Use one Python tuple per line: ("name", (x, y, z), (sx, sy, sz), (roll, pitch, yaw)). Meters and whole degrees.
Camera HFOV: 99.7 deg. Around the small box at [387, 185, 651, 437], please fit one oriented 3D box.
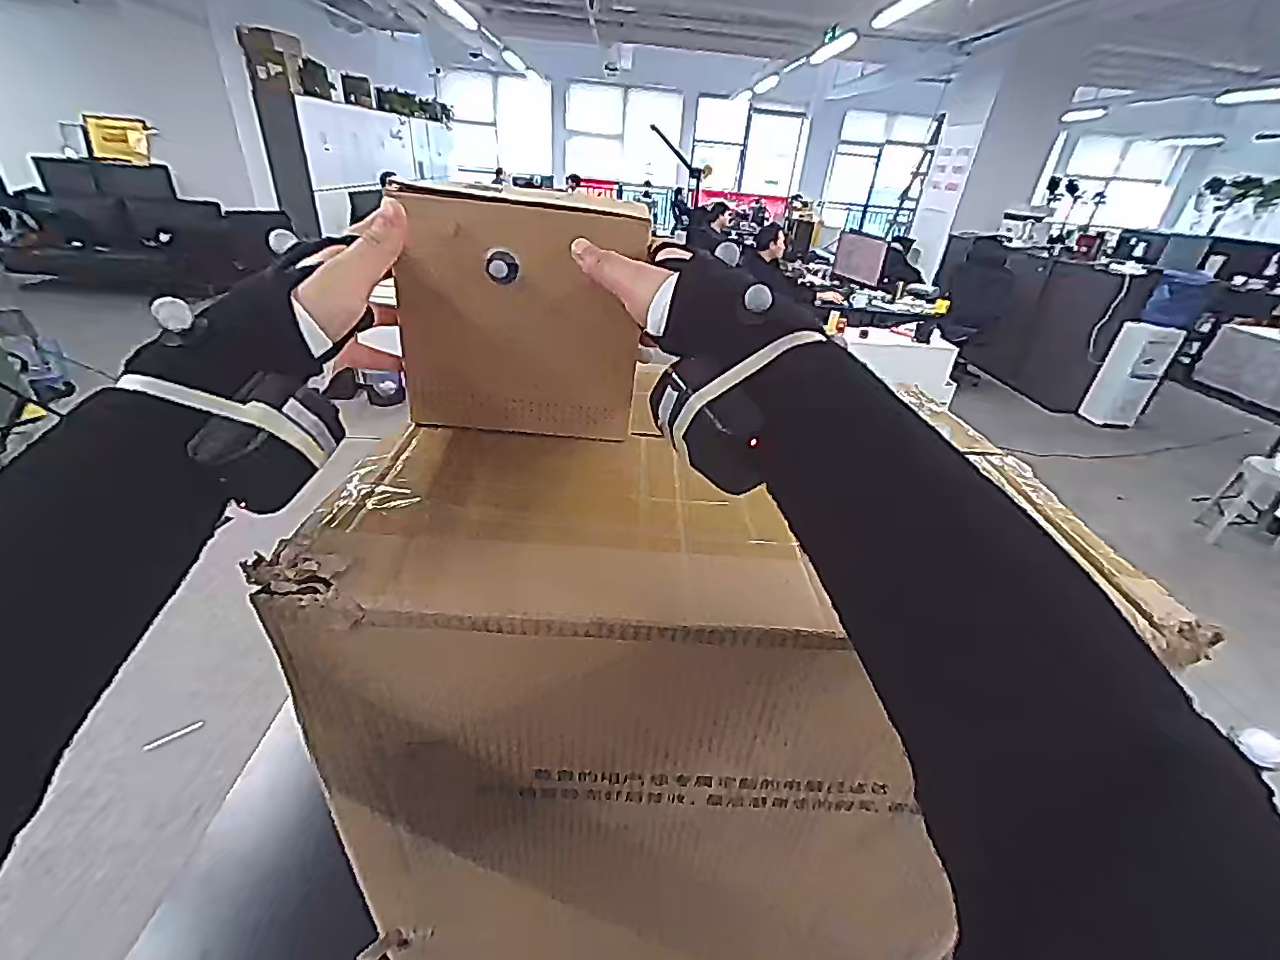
("small box", (-0.087, -0.146, 0.459), (0.179, 0.176, 0.168), (5, 29, -4))
